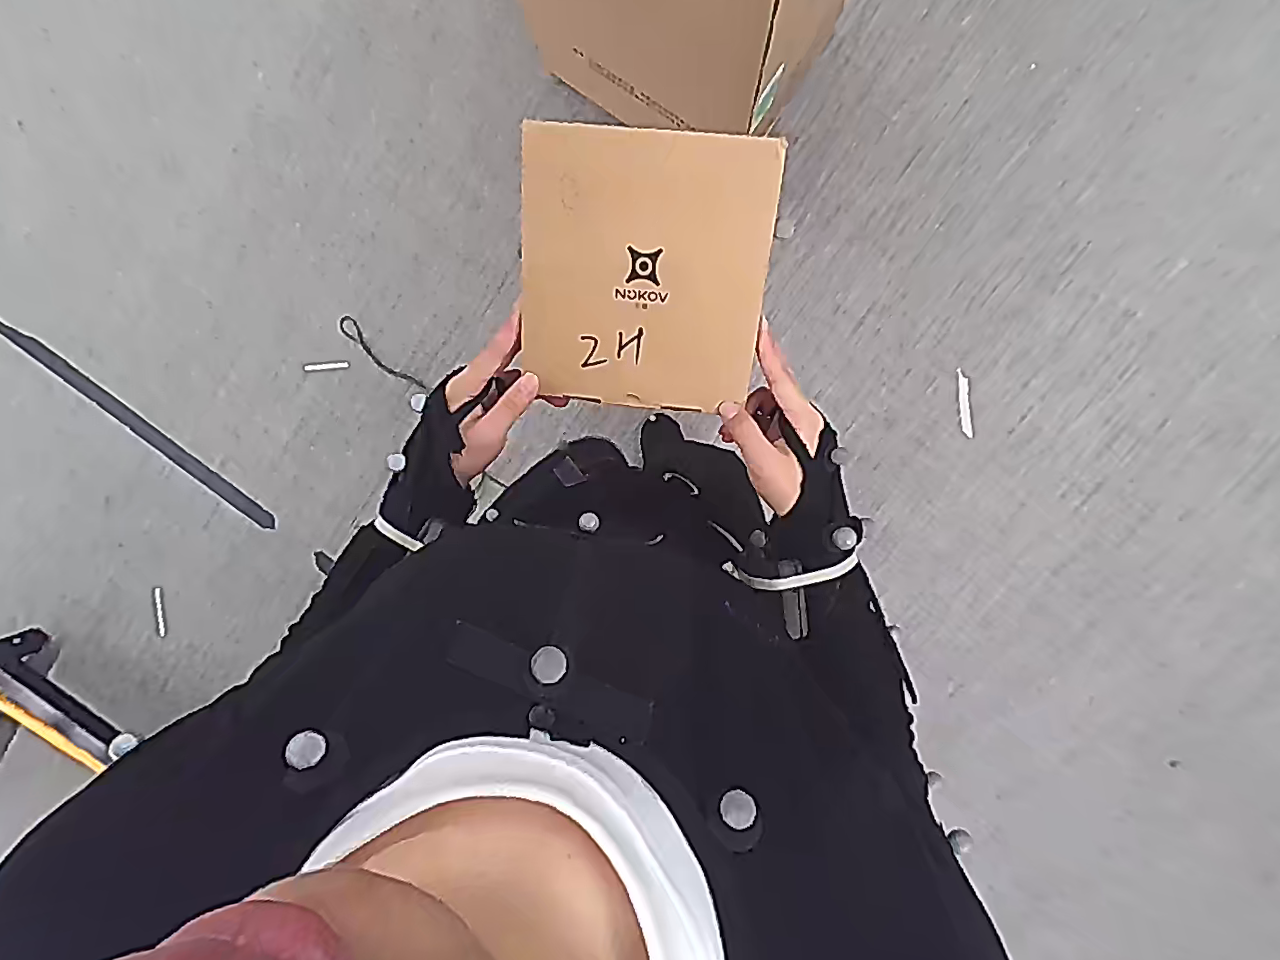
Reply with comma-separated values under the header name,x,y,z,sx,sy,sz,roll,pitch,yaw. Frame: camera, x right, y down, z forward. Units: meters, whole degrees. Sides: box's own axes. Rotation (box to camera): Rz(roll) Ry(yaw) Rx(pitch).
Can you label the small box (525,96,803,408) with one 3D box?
name,x,y,z,sx,sy,sz,roll,pitch,yaw
small box,0.016,-0.167,0.426,0.168,0.176,0.179,7,111,4
